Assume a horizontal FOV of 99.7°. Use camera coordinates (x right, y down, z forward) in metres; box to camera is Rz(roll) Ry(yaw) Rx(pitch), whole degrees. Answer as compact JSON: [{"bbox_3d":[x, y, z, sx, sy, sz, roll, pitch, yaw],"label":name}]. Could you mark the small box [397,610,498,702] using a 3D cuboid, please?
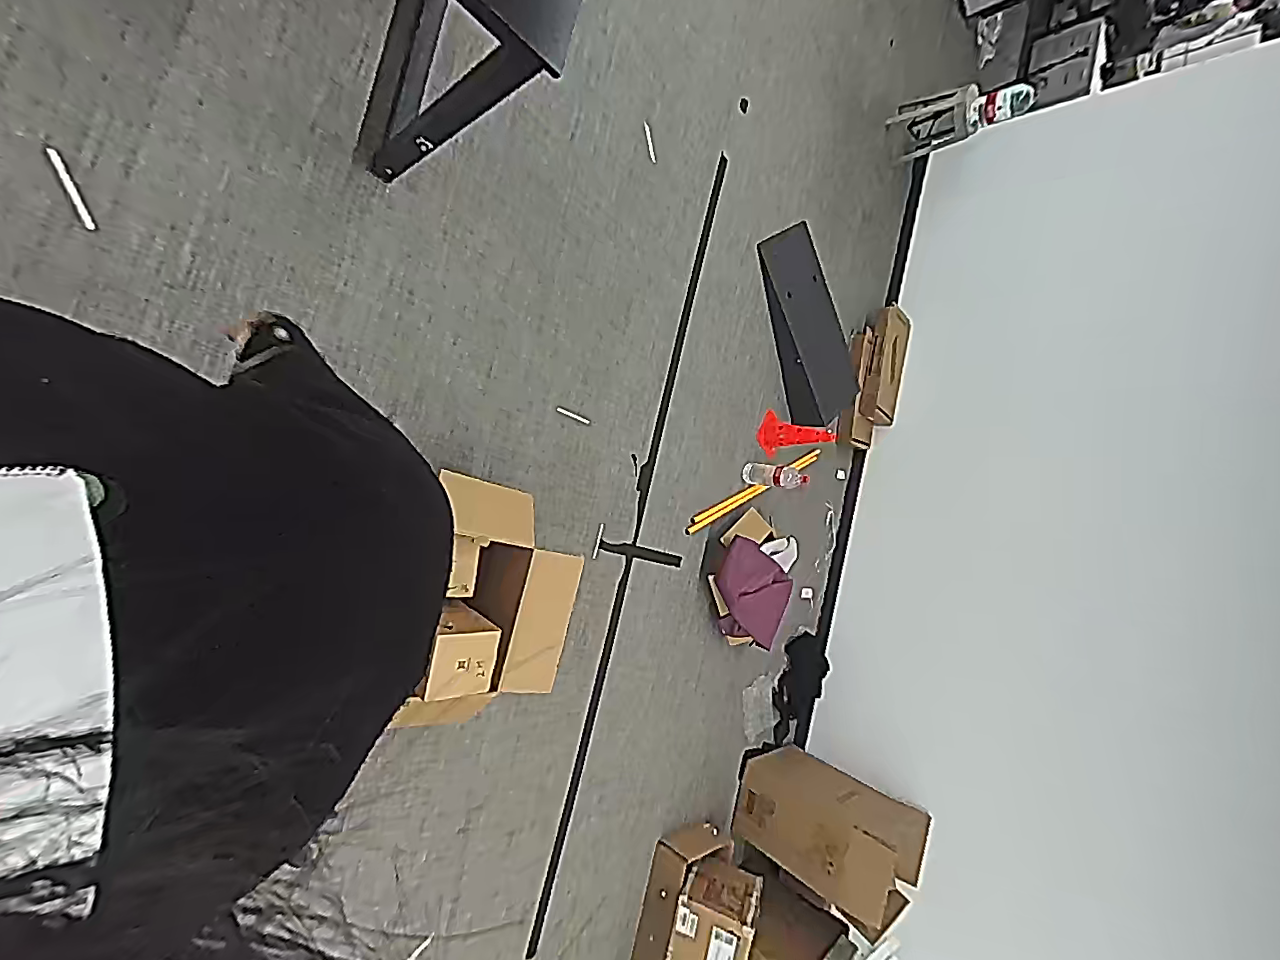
[{"bbox_3d":[-0.495,0.439,1.379,0.179,0.176,0.168,11,92,-46],"label":"small box"}]
